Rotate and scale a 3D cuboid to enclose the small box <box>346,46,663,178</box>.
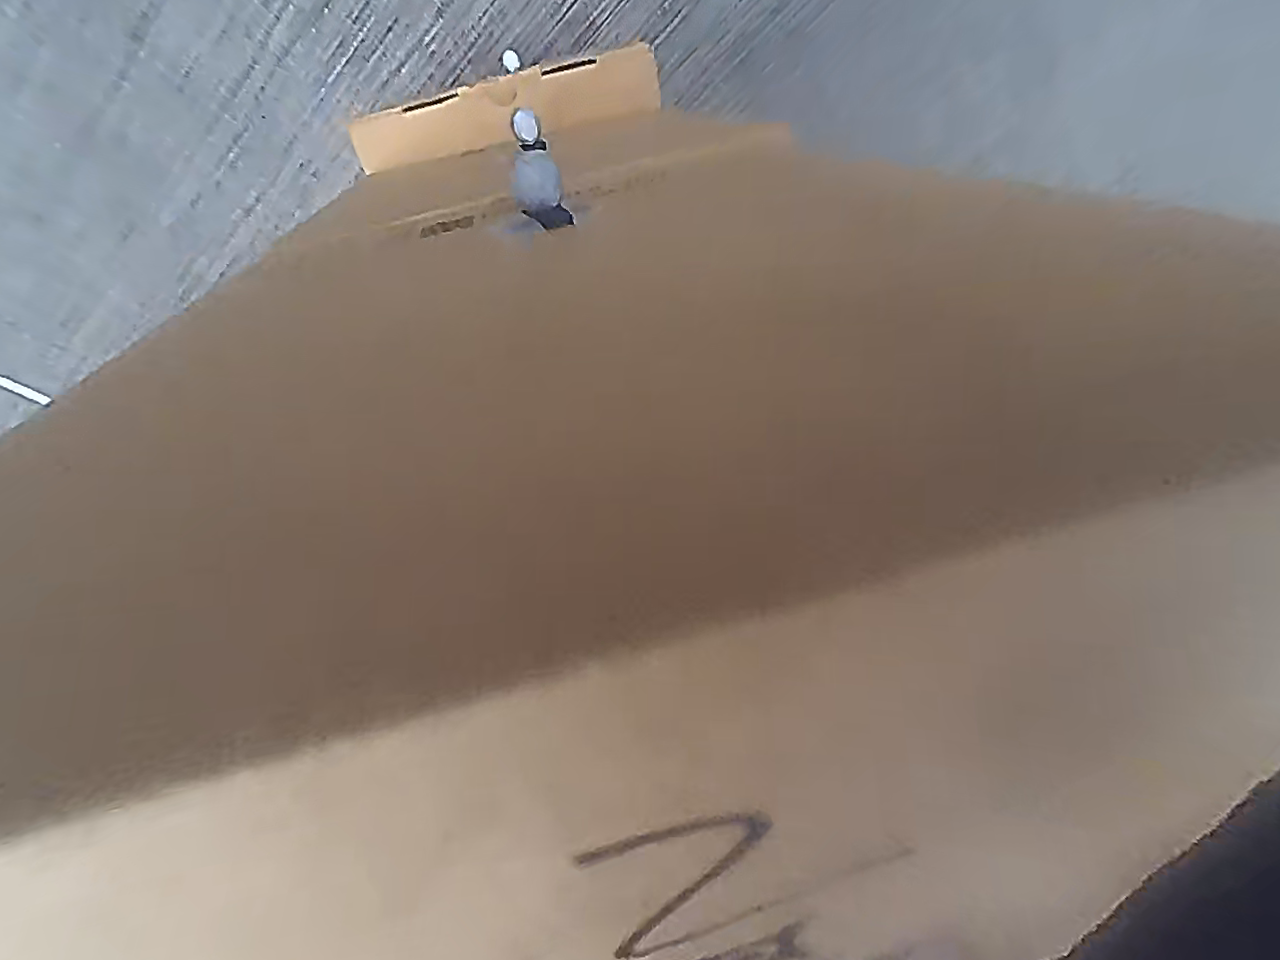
[{"bbox_3d":[-0.073,-0.185,0.390,0.168,0.176,0.179,-18,128,-4],"label":"small box"}]
